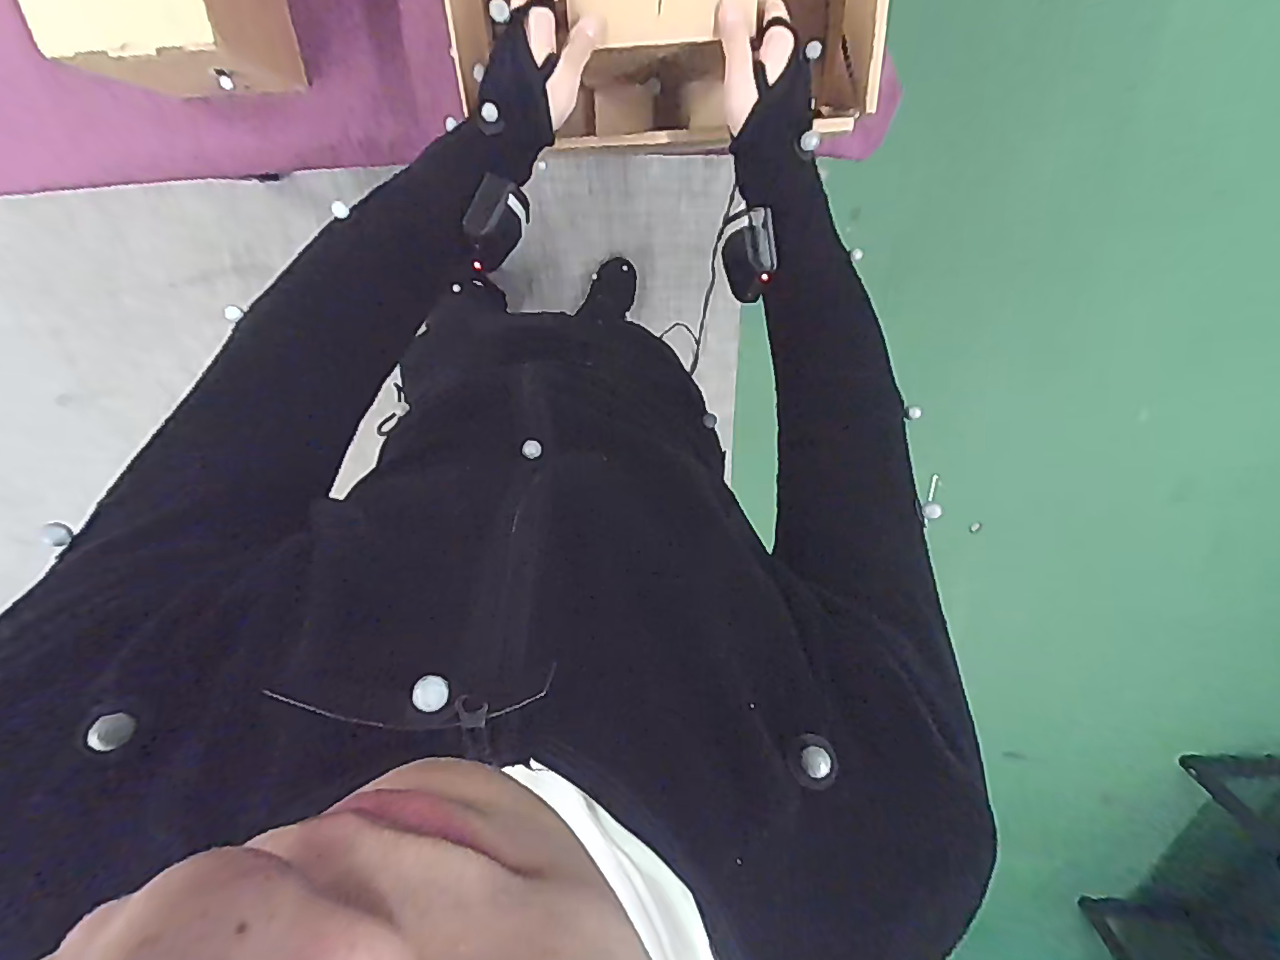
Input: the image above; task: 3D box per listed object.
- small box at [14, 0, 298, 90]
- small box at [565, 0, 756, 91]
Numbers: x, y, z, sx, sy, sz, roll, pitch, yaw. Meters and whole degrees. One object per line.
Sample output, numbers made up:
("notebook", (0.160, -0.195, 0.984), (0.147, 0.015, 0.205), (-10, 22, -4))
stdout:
("small box", (-0.483, -0.510, 0.540), (0.168, 0.176, 0.179), (-3, 114, -1))
("small box", (0.014, -0.493, 0.509), (0.168, 0.176, 0.179), (-3, 116, 1))
